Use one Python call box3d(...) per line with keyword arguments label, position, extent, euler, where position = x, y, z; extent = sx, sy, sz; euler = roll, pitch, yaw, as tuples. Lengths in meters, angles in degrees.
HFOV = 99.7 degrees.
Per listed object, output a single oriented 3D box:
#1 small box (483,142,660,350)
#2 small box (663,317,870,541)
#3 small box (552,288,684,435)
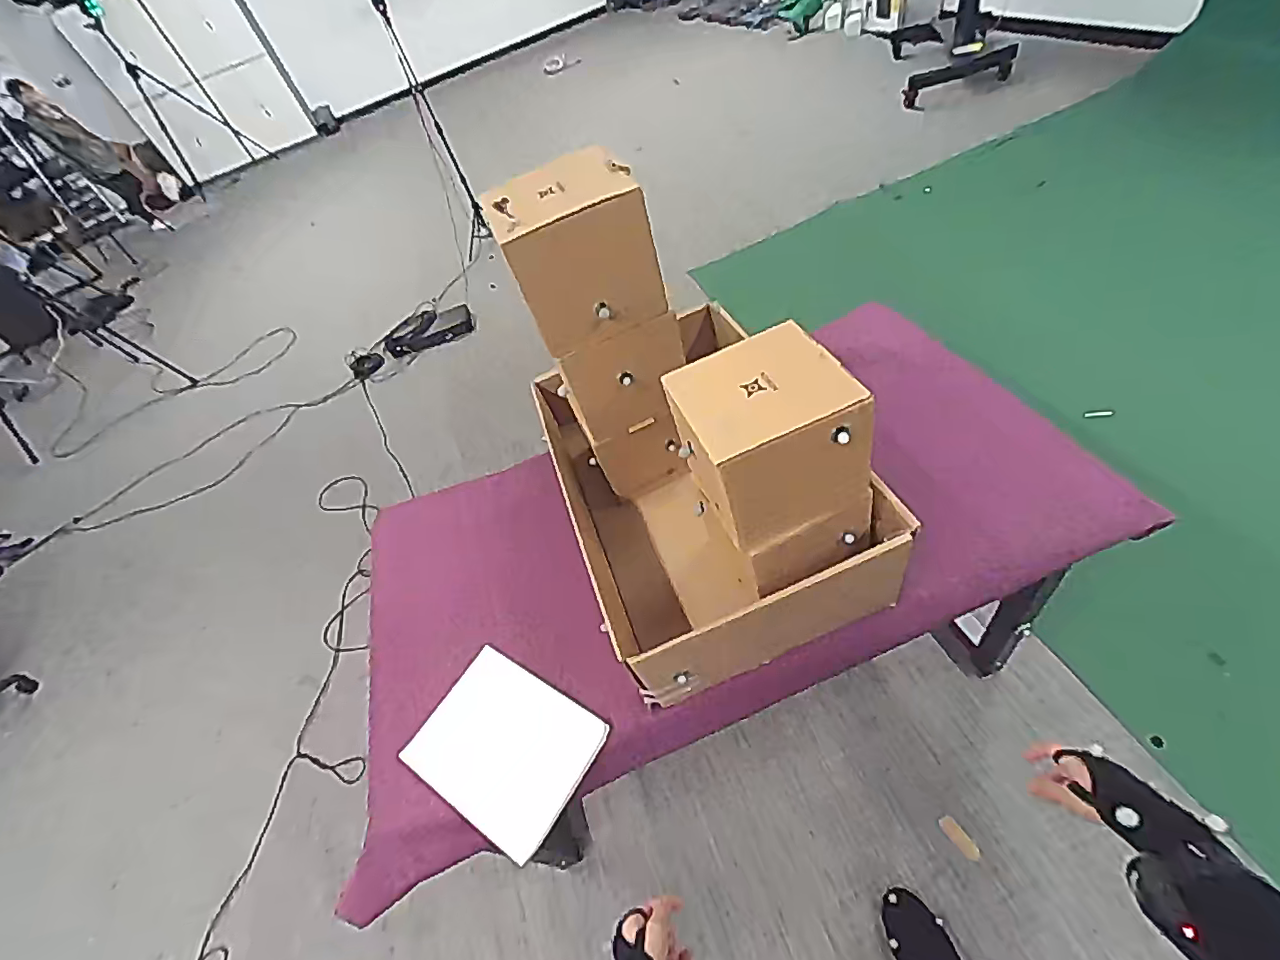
box3d(label="small box", position=(-0.082, -0.304, 0.712), extent=(0.179, 0.176, 0.168), euler=(-23, 49, -3))
box3d(label="small box", position=(0.149, -0.056, 0.645), extent=(0.179, 0.176, 0.168), euler=(-23, 47, -2))
box3d(label="small box", position=(-0.040, -0.203, 0.834), extent=(0.179, 0.176, 0.168), euler=(-26, 49, -4))
